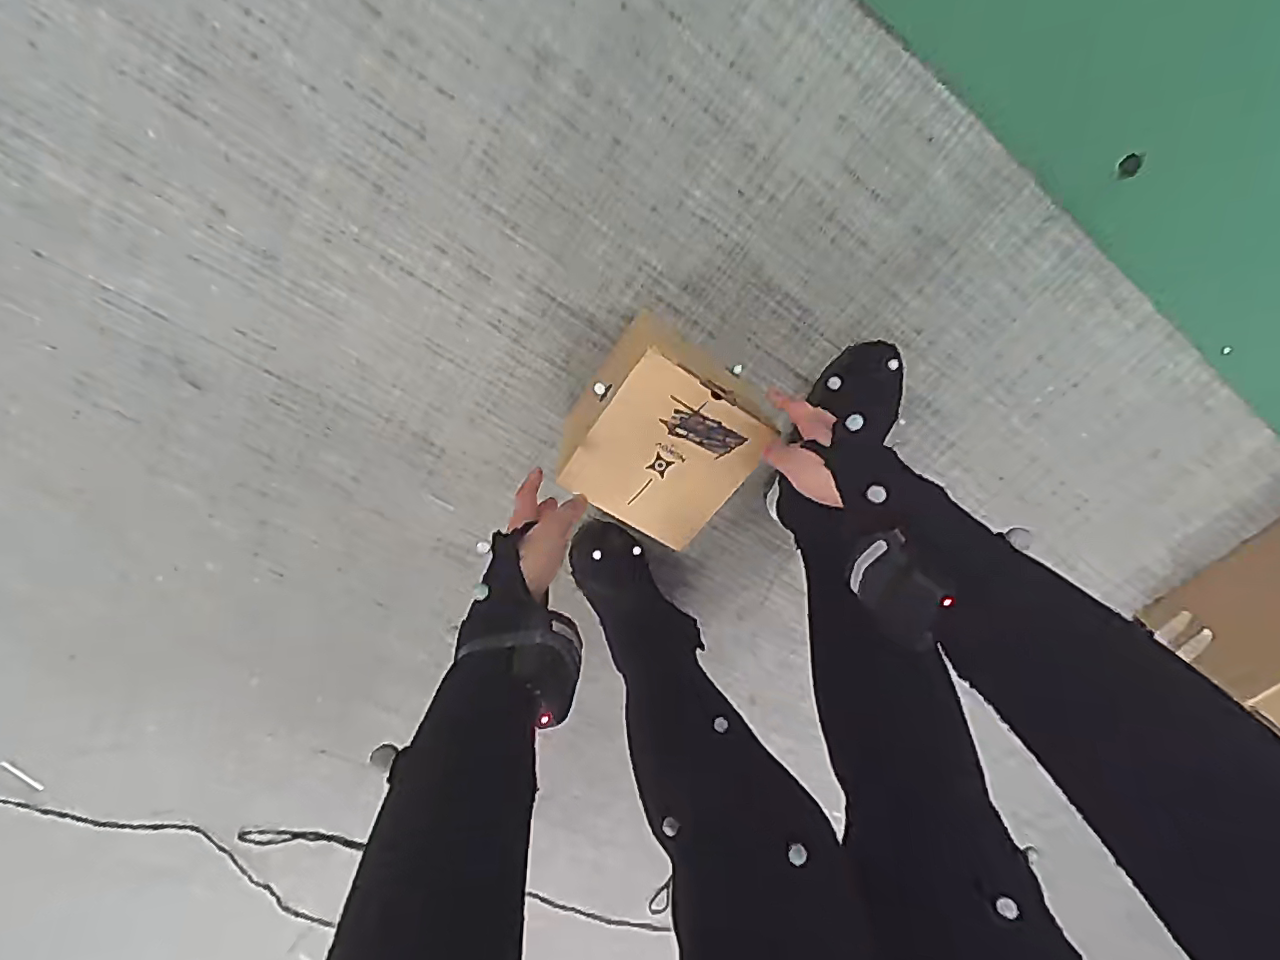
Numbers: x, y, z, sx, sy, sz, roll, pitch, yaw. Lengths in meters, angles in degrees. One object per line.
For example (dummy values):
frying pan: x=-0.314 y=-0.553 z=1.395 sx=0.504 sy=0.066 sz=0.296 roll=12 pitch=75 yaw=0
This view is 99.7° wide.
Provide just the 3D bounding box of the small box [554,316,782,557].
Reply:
small box: x=0.022 y=-0.056 z=0.603 sx=0.168 sy=0.176 sz=0.179 roll=31 pitch=114 yaw=-18
